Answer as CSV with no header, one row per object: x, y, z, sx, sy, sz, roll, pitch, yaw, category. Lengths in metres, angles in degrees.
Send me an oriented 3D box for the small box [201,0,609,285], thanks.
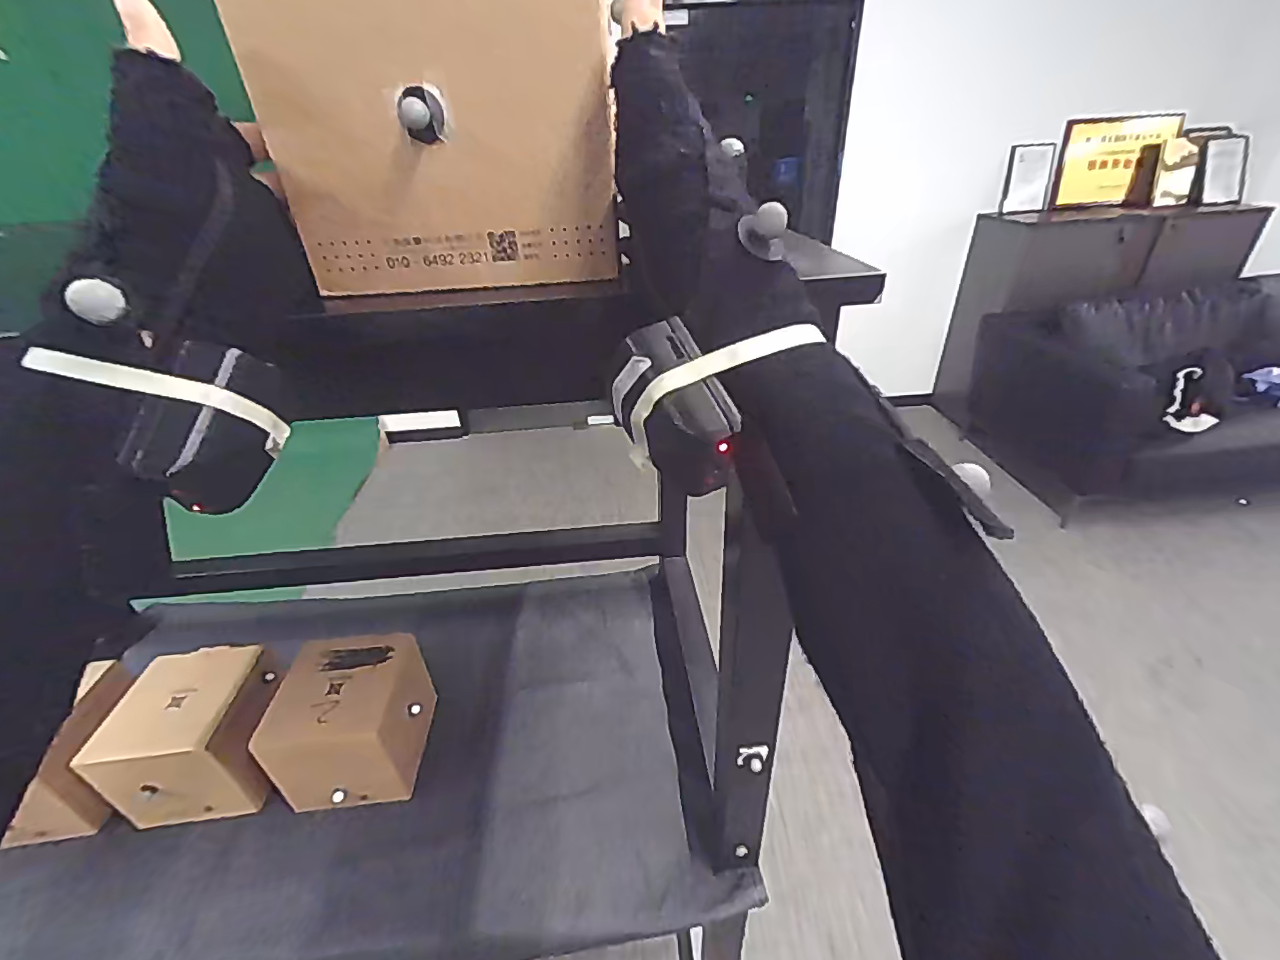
-0.107,-0.218,0.324,0.168,0.176,0.179,-3,32,0,small box

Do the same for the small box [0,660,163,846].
-0.859,0.396,0.791,0.168,0.176,0.179,-6,33,-4,small box
